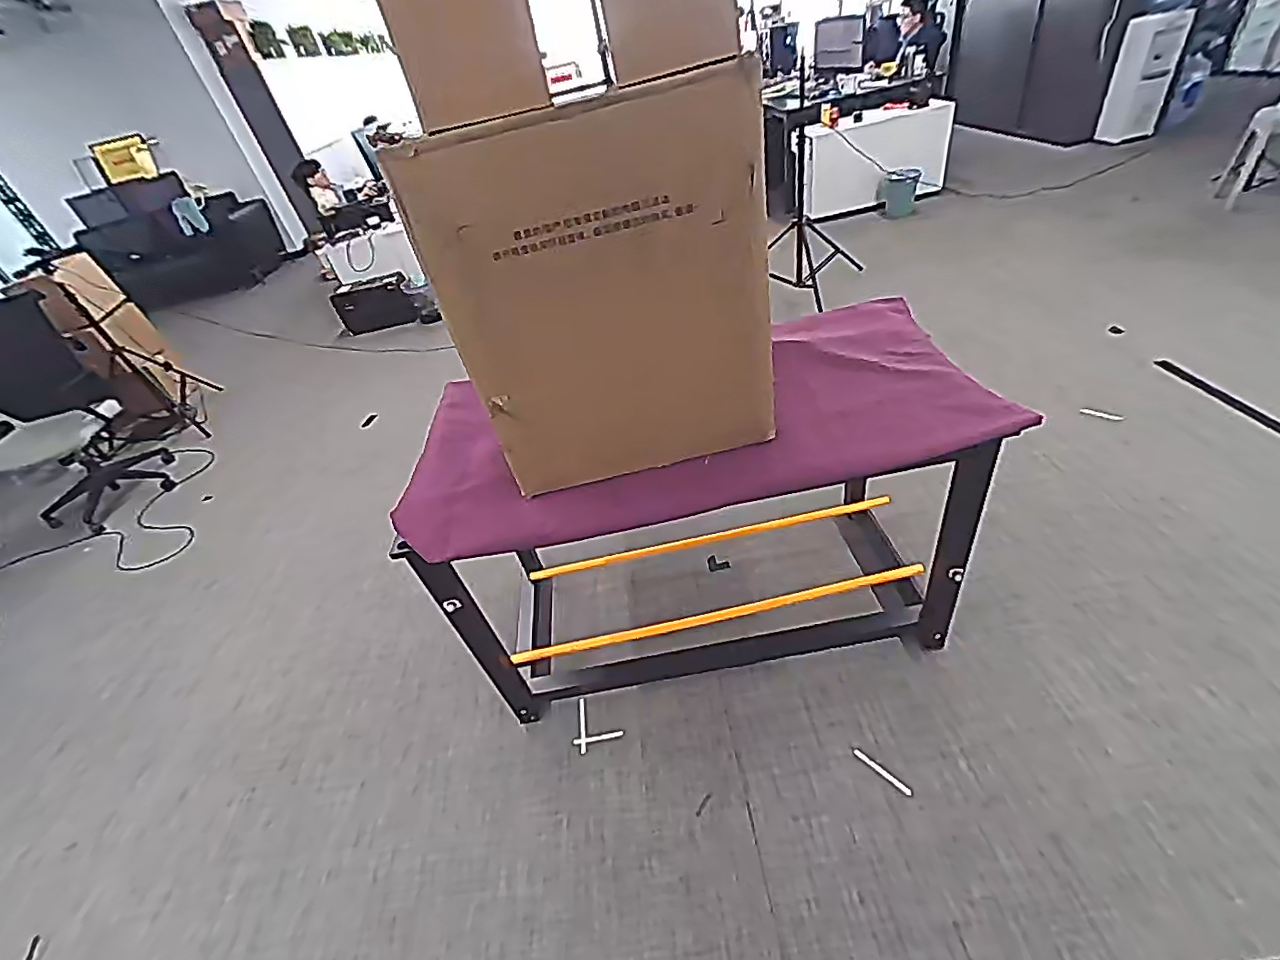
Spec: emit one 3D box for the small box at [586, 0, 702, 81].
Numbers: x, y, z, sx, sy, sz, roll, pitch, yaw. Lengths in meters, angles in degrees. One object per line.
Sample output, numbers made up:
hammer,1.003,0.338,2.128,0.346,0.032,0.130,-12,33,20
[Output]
small box,-0.002,-0.767,0.875,0.168,0.176,0.179,-13,39,3
